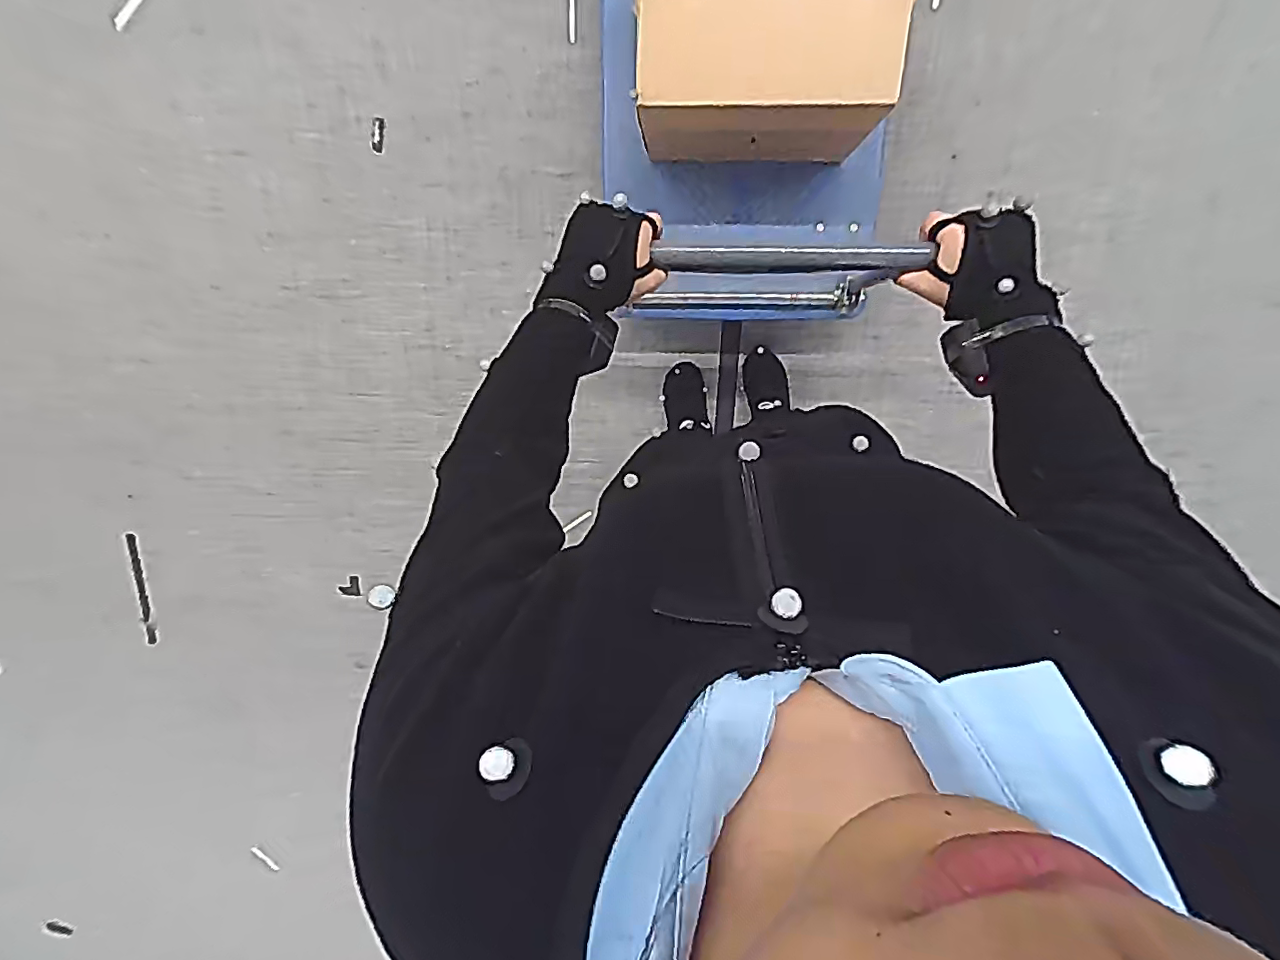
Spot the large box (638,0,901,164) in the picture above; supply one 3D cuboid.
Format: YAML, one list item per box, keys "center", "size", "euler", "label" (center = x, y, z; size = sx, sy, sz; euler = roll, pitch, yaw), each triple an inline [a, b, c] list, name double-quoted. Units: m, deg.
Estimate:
- center: [0.212, -0.778, 0.965]
  size: [0.408, 0.320, 0.320]
  euler: [3, 105, 5]
  label: "large box"
